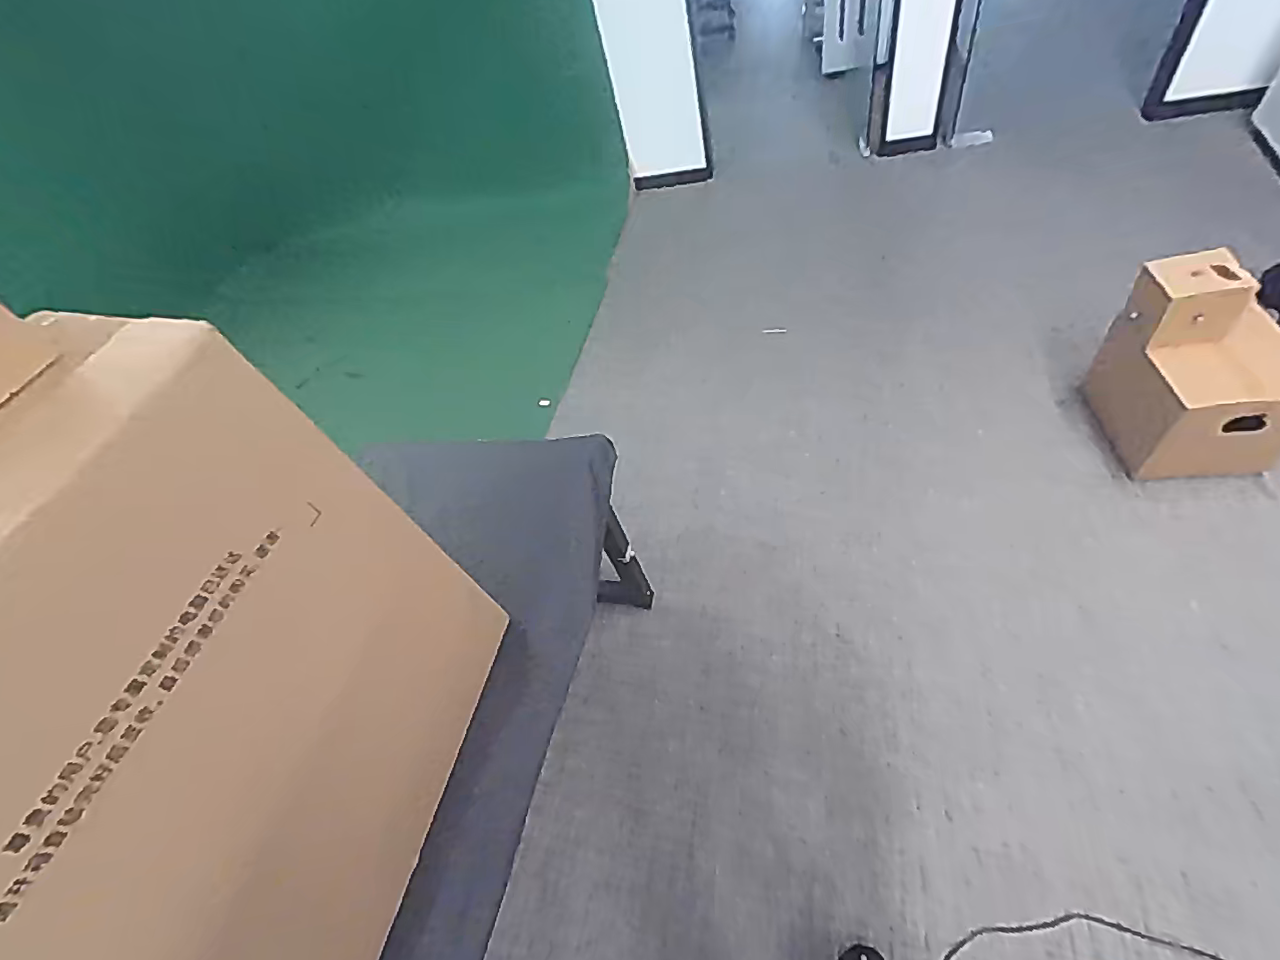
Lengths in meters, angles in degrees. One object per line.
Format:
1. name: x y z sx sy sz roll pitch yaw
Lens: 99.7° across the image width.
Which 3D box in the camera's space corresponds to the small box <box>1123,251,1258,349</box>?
1. small box: 1.450 -0.475 1.440 0.179 0.176 0.168 -6 52 18
